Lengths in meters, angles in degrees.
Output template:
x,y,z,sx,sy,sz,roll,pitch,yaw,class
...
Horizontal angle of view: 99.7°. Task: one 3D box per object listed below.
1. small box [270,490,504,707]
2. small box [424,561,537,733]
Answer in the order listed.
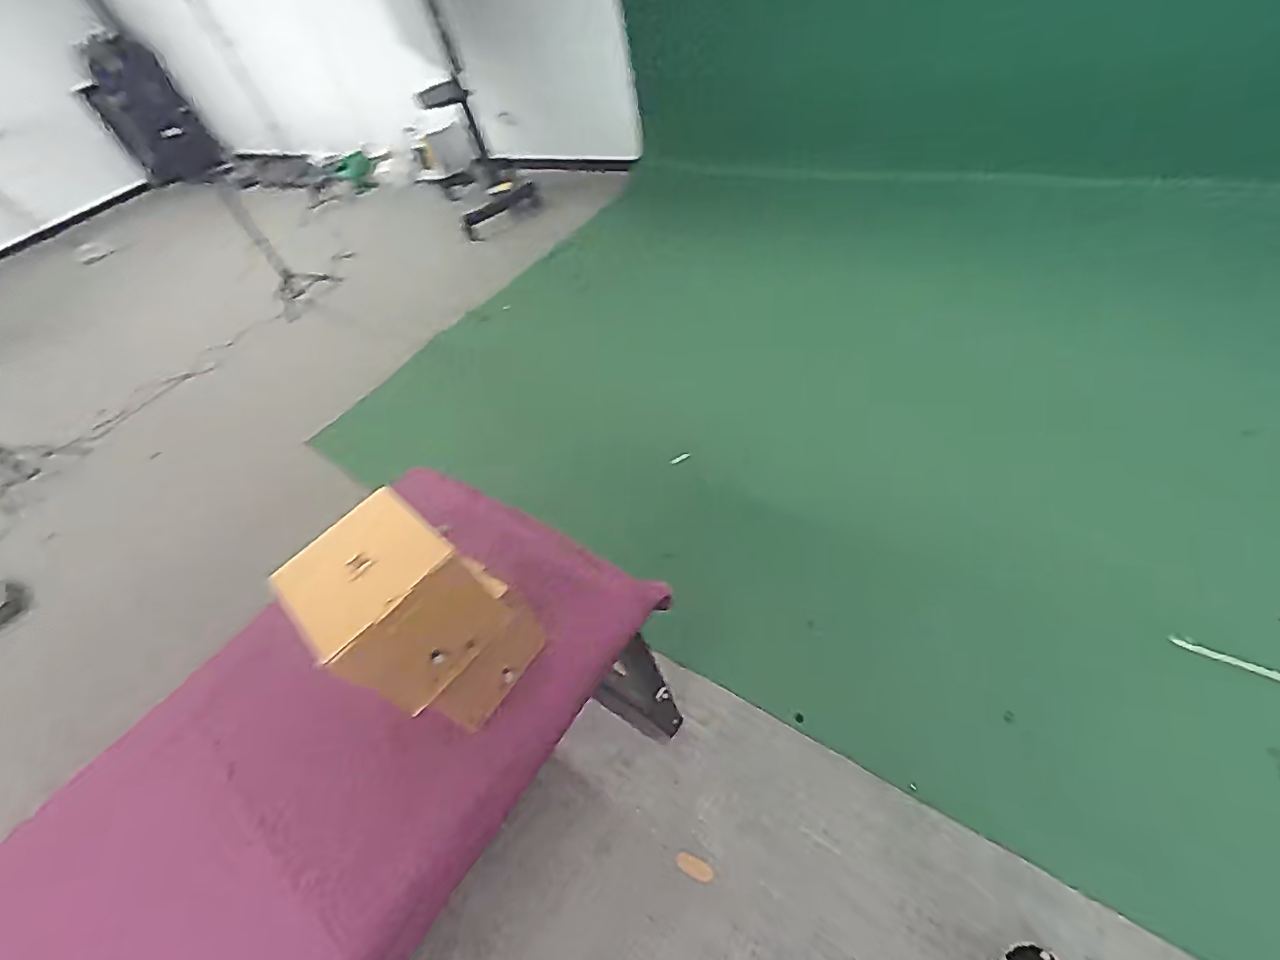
x,y,z,sx,sy,sz,roll,pitch,yaw,class
-0.306,0.150,0.678,0.179,0.176,0.168,29,63,34,small box
-0.277,0.240,0.812,0.168,0.176,0.179,20,57,32,small box
